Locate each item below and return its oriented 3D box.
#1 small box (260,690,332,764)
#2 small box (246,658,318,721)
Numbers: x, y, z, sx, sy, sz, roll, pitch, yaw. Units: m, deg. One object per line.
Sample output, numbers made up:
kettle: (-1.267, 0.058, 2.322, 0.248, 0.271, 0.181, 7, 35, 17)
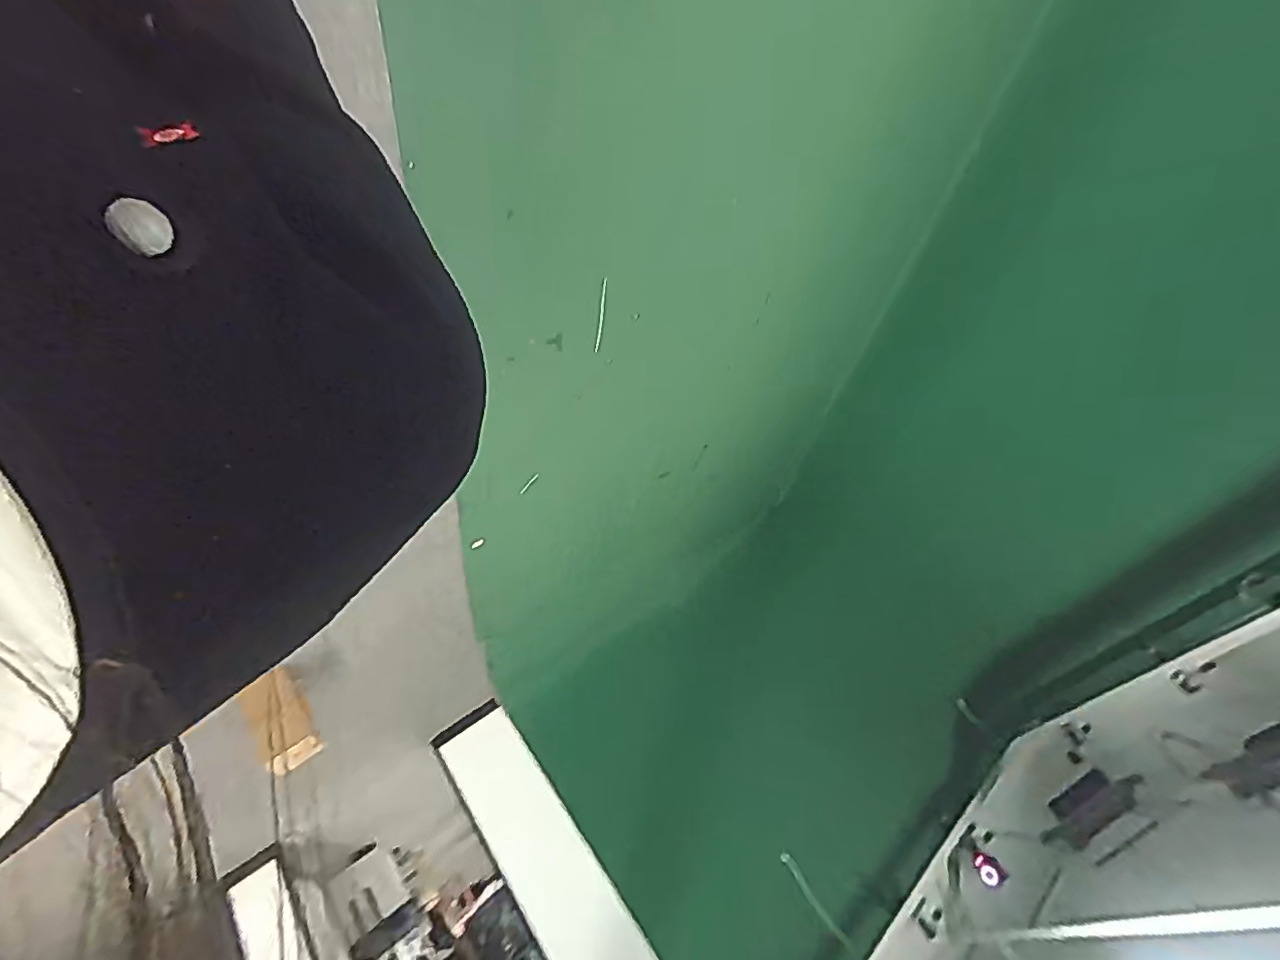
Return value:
small box: (-1.341, 0.955, 2.097, 0.179, 0.176, 0.168, -29, 150, -27)
small box: (-1.444, 0.854, 2.174, 0.179, 0.176, 0.168, -32, 150, -22)
